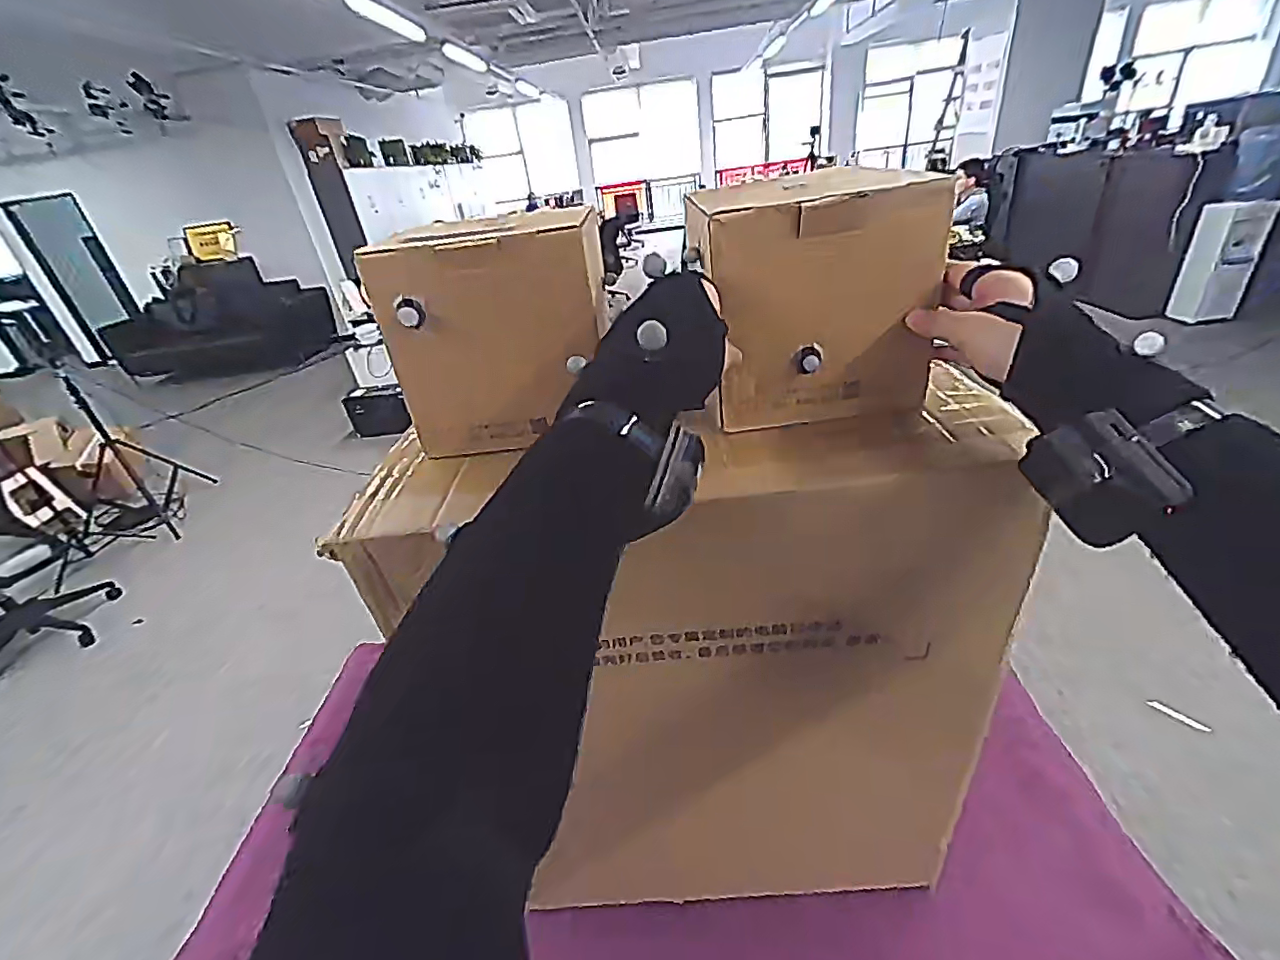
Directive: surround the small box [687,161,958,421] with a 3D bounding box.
[{"bbox_3d":[0.135,-0.167,0.468,0.168,0.176,0.179,-8,32,2],"label":"small box"}]
